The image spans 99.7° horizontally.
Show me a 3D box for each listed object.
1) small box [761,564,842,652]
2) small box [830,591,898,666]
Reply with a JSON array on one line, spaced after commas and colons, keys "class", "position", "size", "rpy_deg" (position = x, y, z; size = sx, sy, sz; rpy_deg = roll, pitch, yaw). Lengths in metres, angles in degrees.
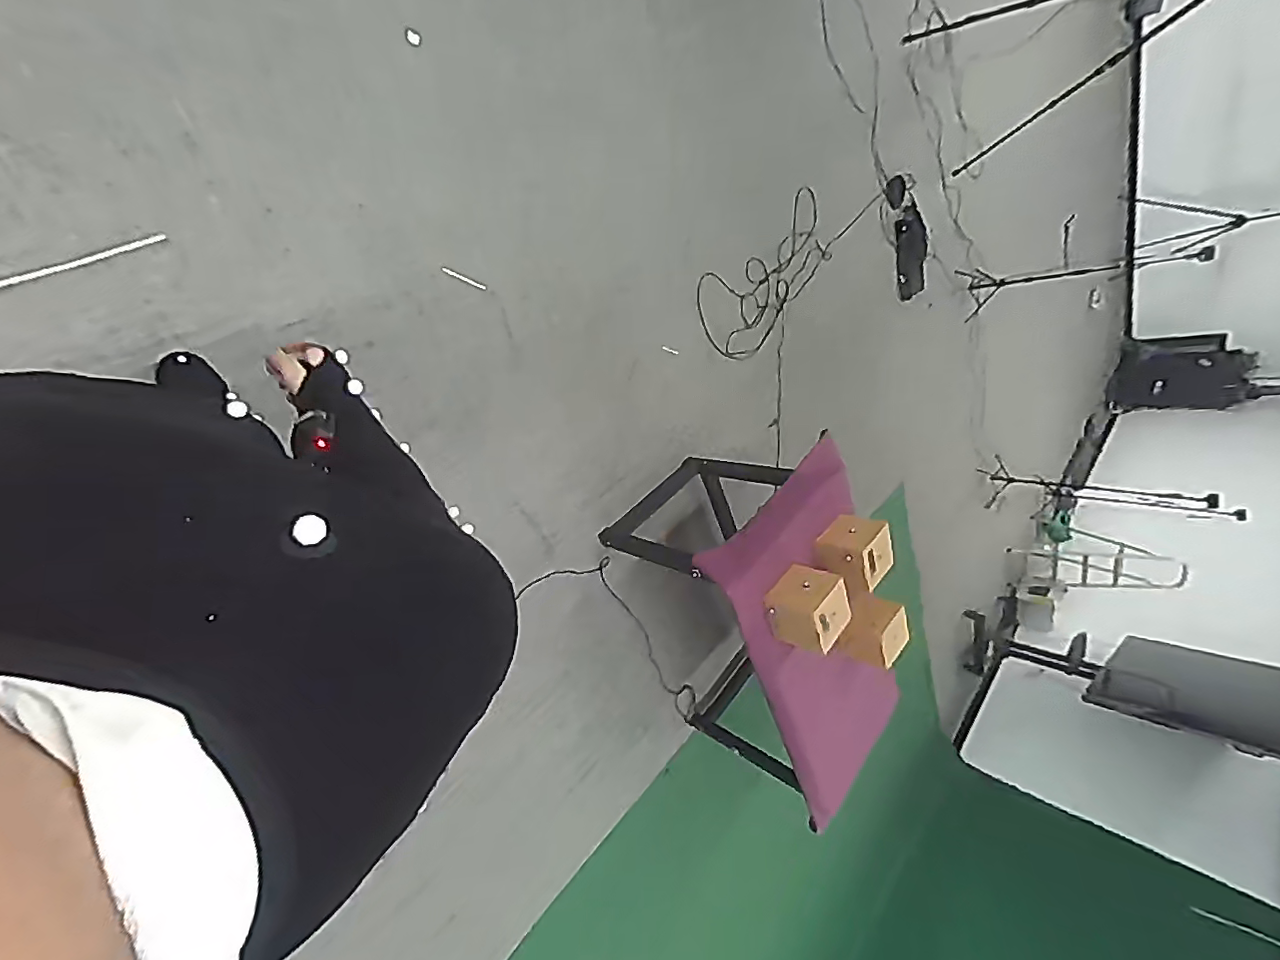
[{"class": "small box", "position": [0.482, 0.380, 1.637], "size": [0.179, 0.176, 0.168], "rpy_deg": [-39, 120, -32]}, {"class": "small box", "position": [0.803, 0.528, 1.950], "size": [0.179, 0.176, 0.168], "rpy_deg": [-35, 119, -31]}]
